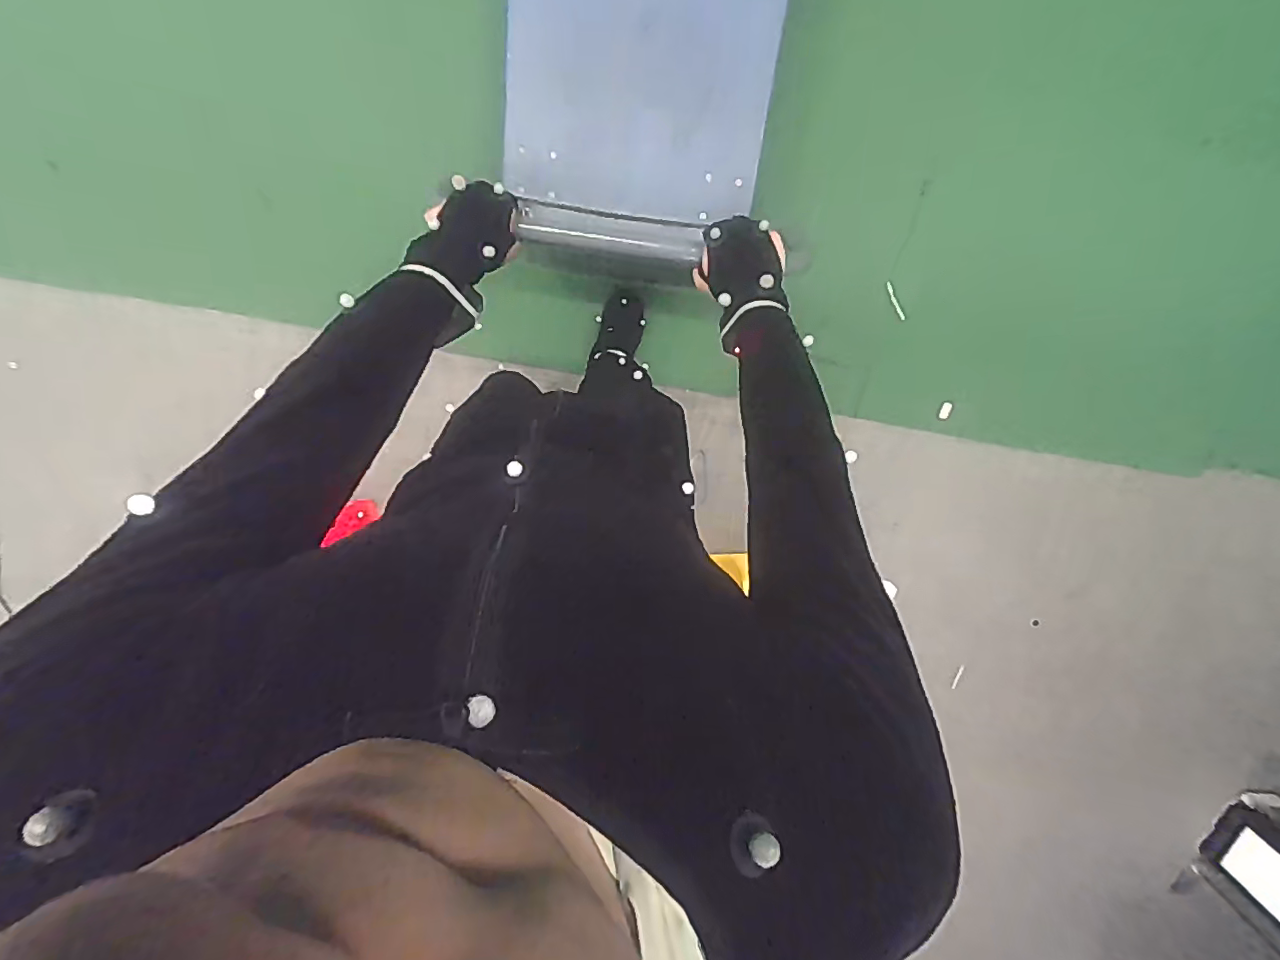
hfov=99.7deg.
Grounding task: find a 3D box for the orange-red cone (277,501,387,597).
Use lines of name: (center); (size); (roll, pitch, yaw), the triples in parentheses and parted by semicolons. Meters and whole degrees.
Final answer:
orange-red cone: (-0.895, 0.219, 1.516); (0.199, 0.360, 0.198); (-4, 110, 1)
